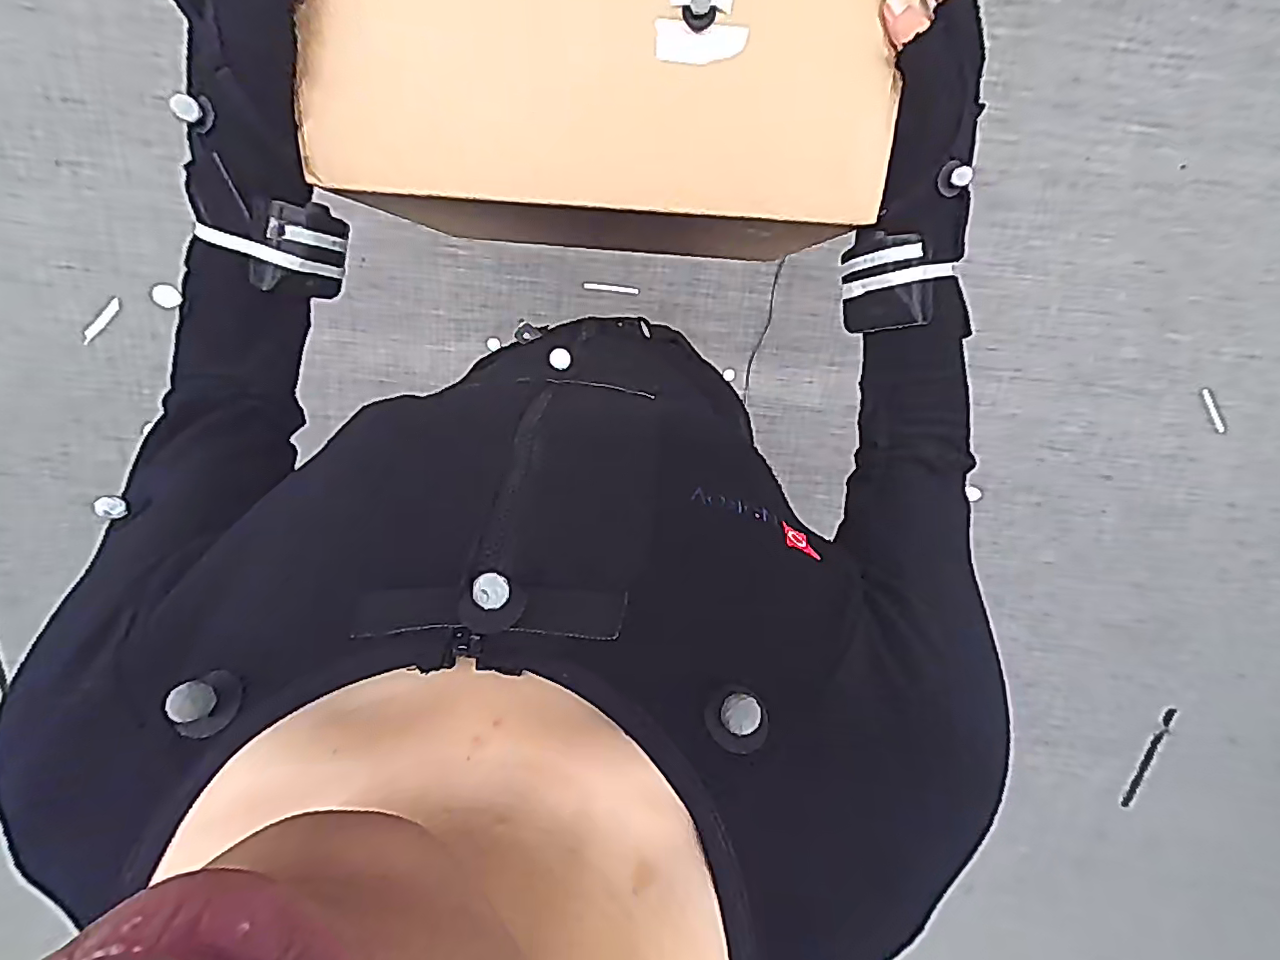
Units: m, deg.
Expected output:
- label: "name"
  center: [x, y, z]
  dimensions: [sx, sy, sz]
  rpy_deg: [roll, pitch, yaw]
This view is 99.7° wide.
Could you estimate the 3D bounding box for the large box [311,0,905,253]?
- label: "large box"
  center: [-0.020, -0.396, 0.492]
  dimensions: [0.408, 0.320, 0.320]
  rpy_deg: [4, 108, -1]
